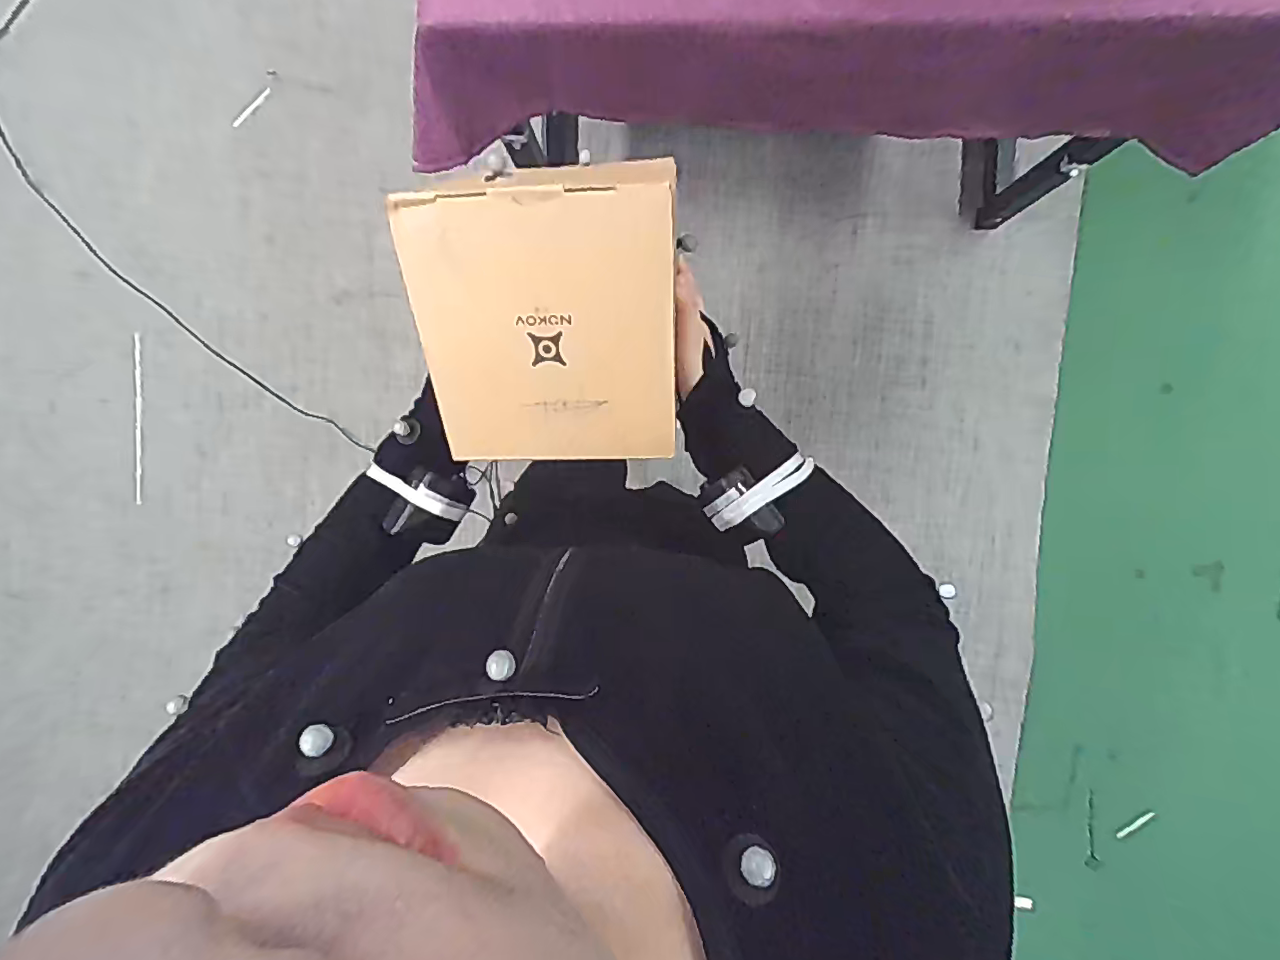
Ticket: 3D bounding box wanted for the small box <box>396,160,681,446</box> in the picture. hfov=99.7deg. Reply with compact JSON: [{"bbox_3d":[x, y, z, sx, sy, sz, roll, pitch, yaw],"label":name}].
[{"bbox_3d":[-0.053,-0.142,0.415,0.168,0.176,0.179,1,124,4],"label":"small box"}]
